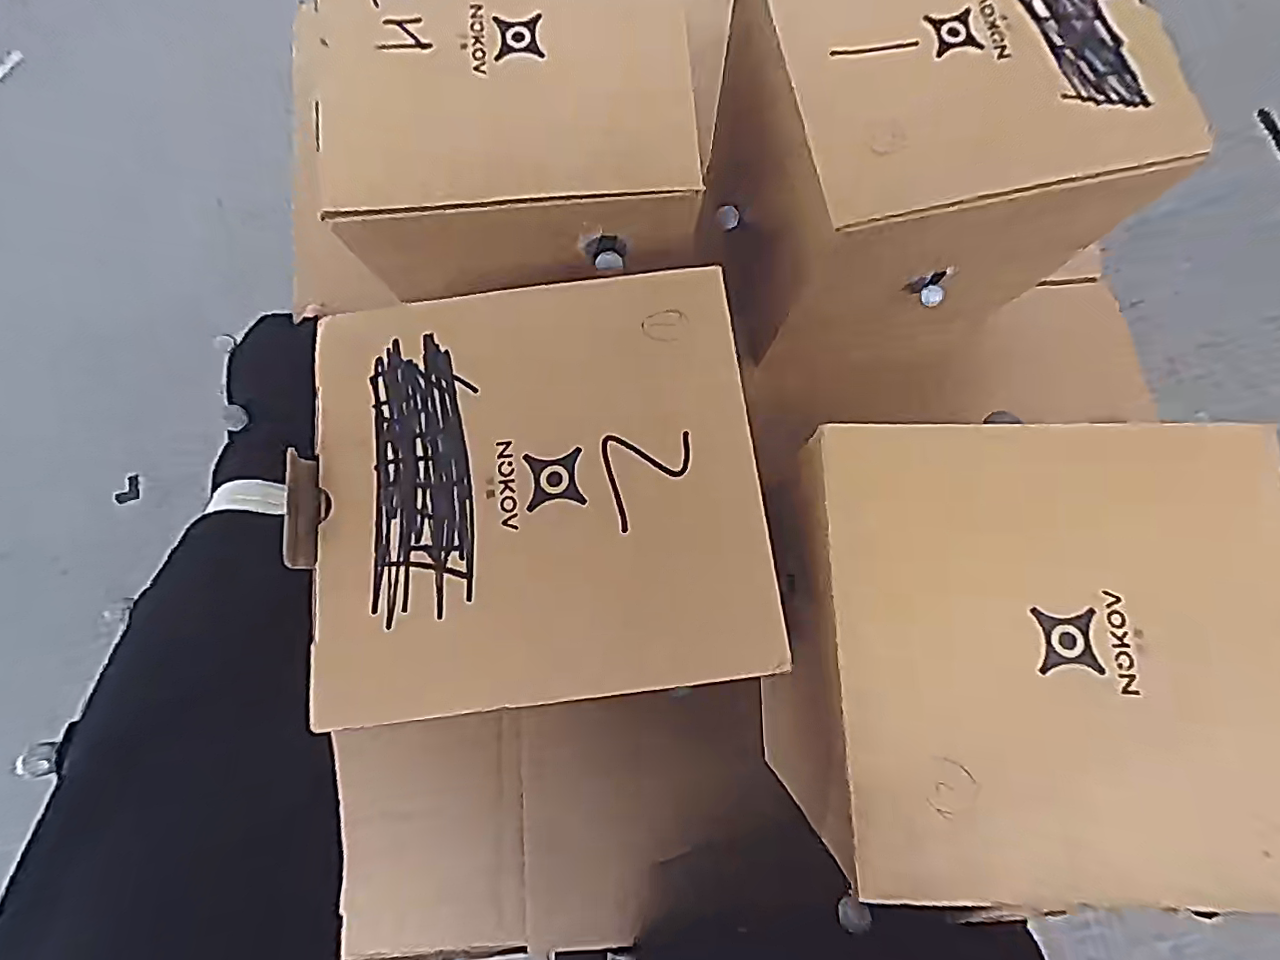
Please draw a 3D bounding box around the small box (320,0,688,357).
[{"bbox_3d":[-0.069,-0.189,0.344,0.179,0.176,0.168,-5,82,1],"label":"small box"}]
